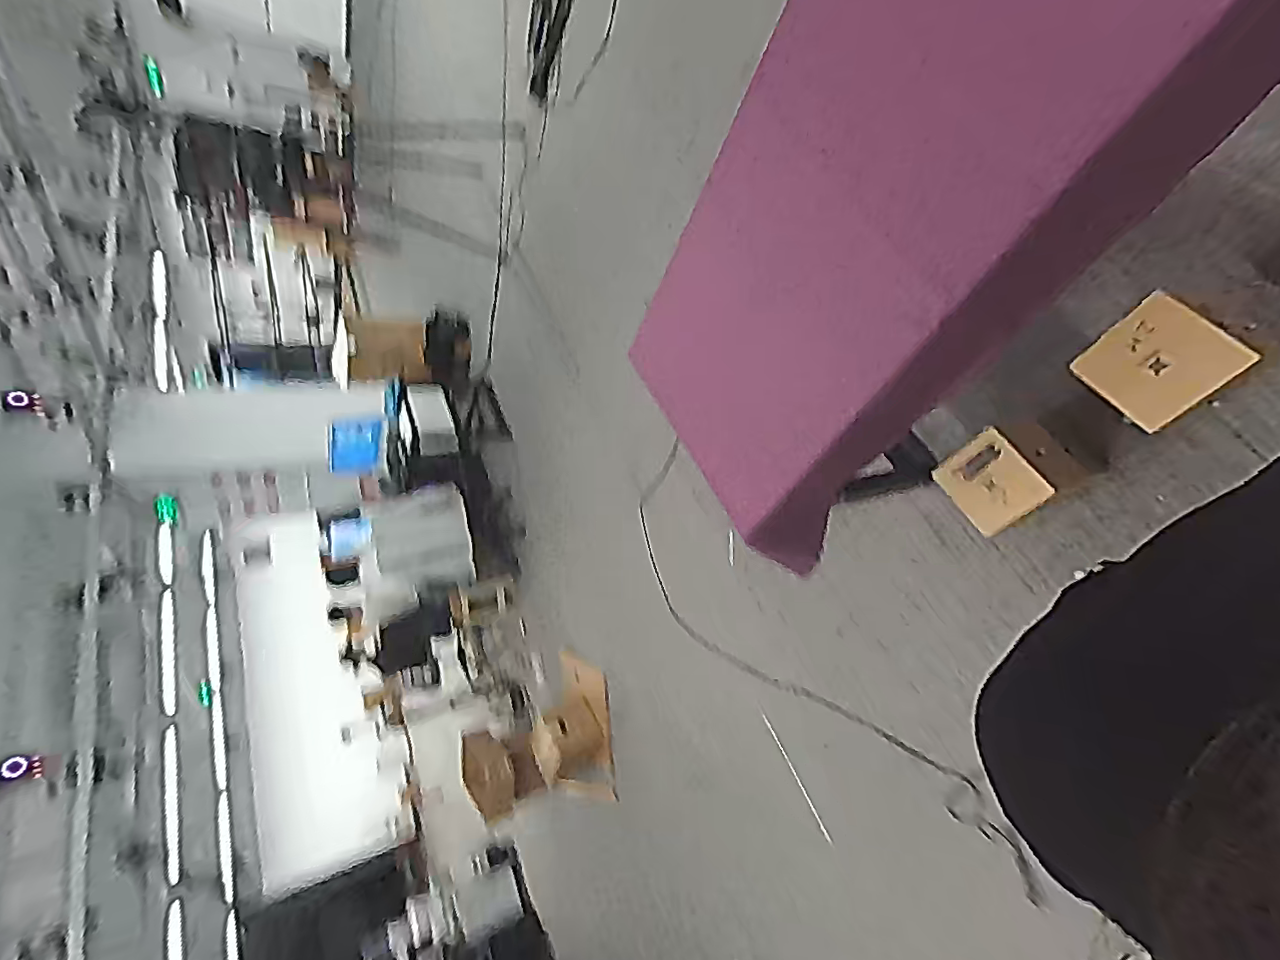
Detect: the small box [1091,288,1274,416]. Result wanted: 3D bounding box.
[{"bbox_3d":[1.049,-0.243,1.047,0.168,0.176,0.179,61,141,28],"label":"small box"}]
